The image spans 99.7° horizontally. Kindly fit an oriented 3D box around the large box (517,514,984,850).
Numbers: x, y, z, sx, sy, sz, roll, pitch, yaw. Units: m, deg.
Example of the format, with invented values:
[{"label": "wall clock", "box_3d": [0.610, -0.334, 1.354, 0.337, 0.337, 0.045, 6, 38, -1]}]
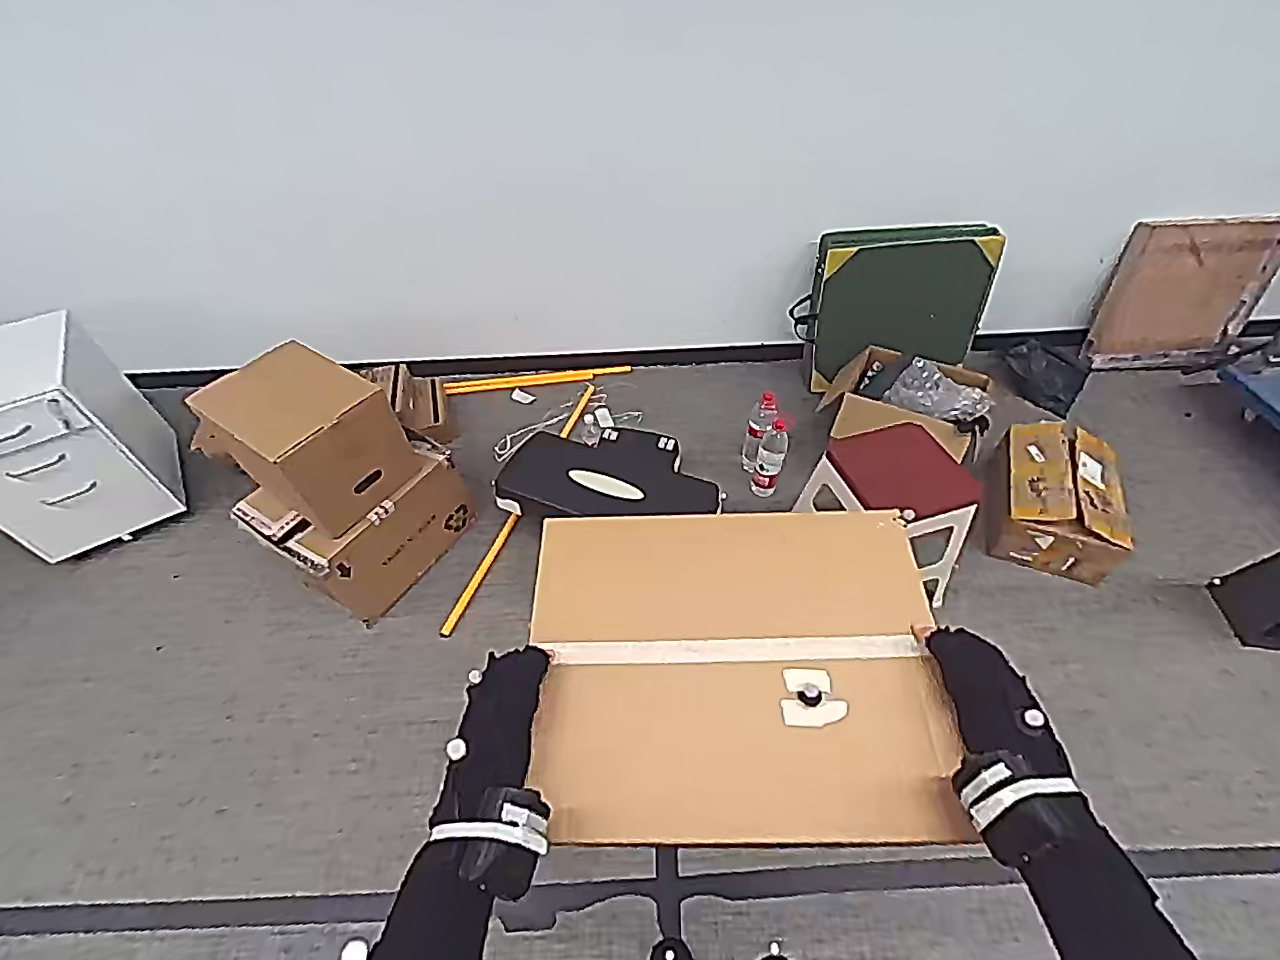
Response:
[{"label": "large box", "box_3d": [0.094, 0.257, 0.661, 0.408, 0.320, 0.320, -2, 55, 2]}]
